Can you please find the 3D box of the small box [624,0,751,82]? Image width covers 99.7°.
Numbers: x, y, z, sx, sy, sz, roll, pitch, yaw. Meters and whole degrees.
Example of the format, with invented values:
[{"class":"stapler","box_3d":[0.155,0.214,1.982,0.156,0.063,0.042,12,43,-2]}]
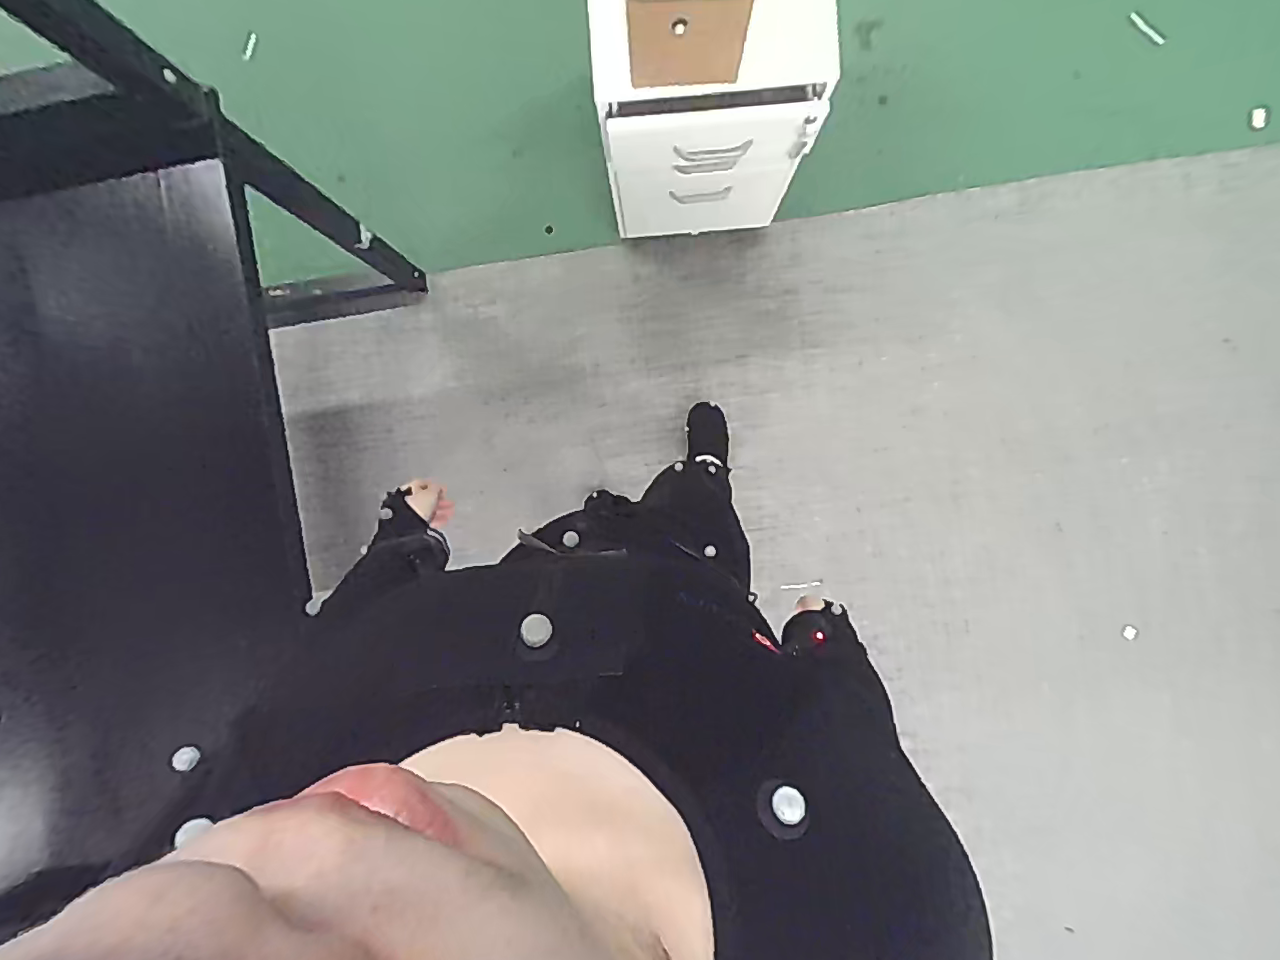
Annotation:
[{"class":"small box","box_3d":[0.065,-0.712,0.780,0.179,0.176,0.168,-1,91,1]}]
